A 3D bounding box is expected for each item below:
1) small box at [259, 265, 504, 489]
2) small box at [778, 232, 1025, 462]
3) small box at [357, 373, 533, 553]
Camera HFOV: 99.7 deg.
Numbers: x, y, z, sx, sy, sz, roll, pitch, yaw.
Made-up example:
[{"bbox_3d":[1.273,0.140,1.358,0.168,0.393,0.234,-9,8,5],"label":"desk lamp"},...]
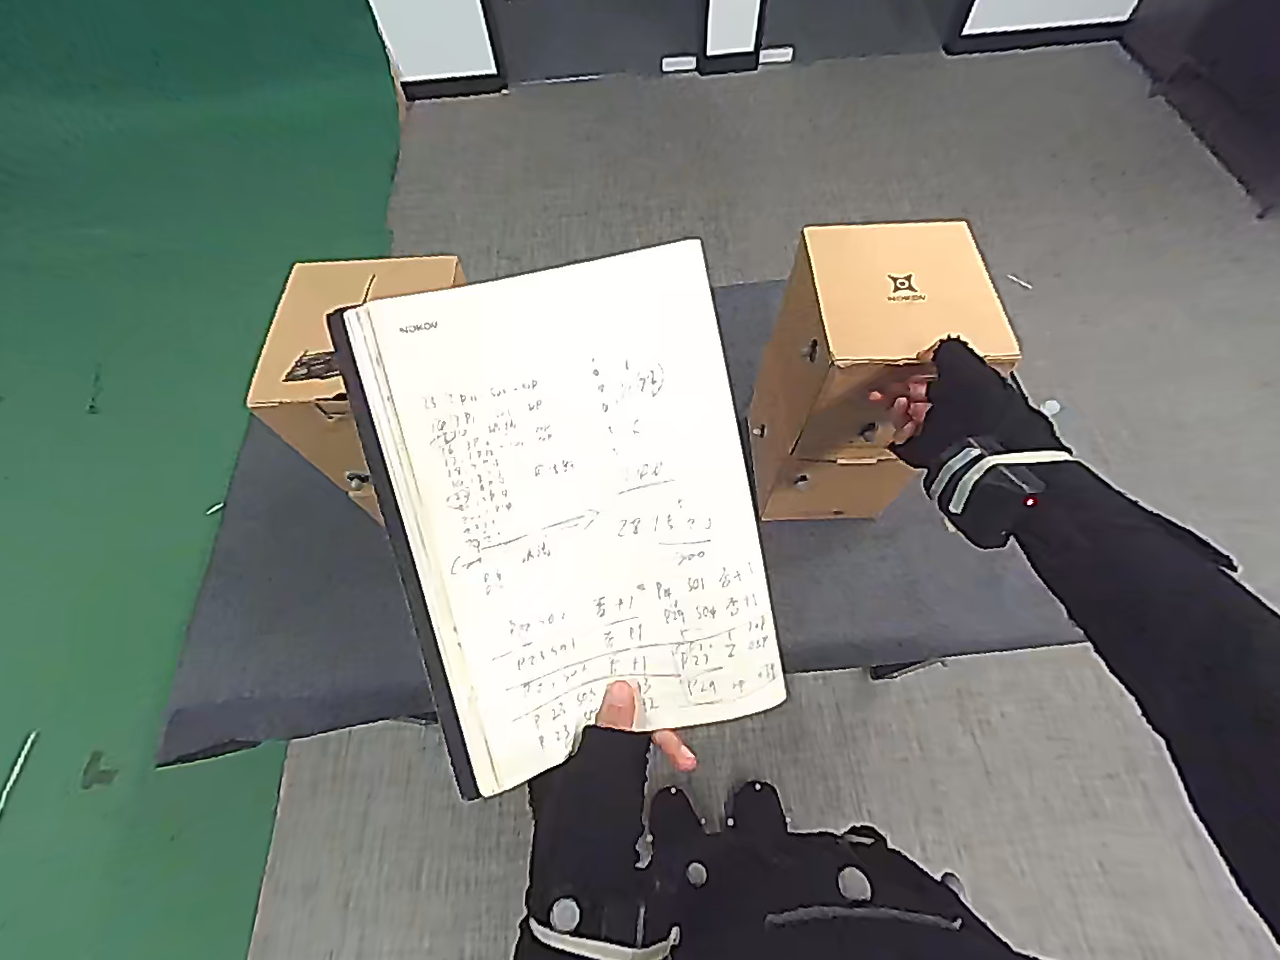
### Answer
[{"bbox_3d":[-0.250,-0.098,0.576,0.168,0.176,0.179,-3,61,0],"label":"small box"},{"bbox_3d":[0.253,-0.136,0.579,0.168,0.176,0.179,-2,62,1],"label":"small box"},{"bbox_3d":[-0.241,-0.018,0.719,0.168,0.176,0.179,-5,62,0],"label":"small box"}]
